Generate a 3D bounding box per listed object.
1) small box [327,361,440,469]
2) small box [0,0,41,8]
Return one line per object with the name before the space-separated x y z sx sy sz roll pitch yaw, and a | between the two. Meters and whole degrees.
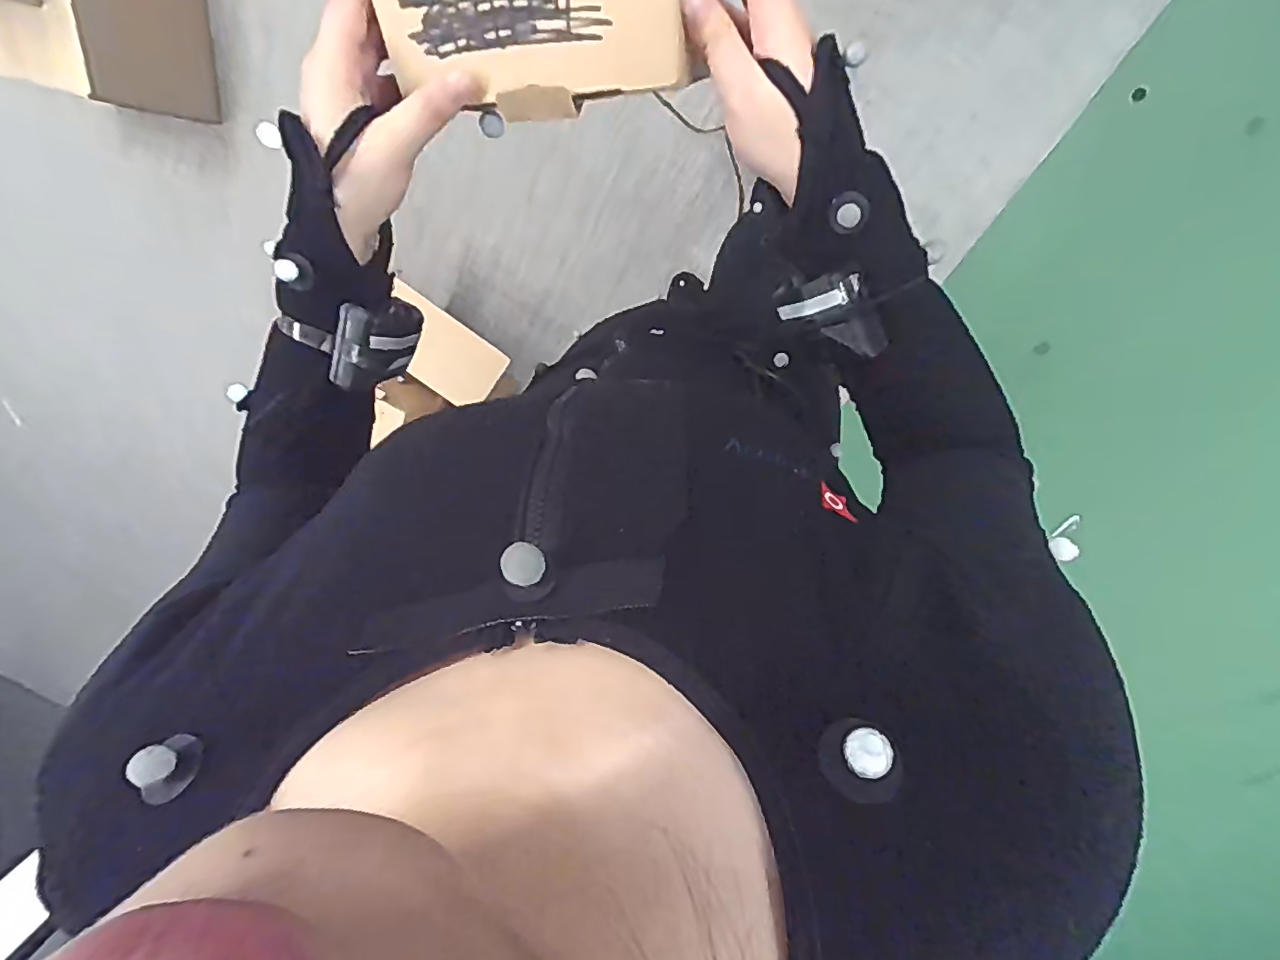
small box | -0.613 -0.161 1.309 0.168 0.176 0.179 28 116 -5
small box | -1.215 -0.964 0.937 0.168 0.176 0.179 14 115 3
